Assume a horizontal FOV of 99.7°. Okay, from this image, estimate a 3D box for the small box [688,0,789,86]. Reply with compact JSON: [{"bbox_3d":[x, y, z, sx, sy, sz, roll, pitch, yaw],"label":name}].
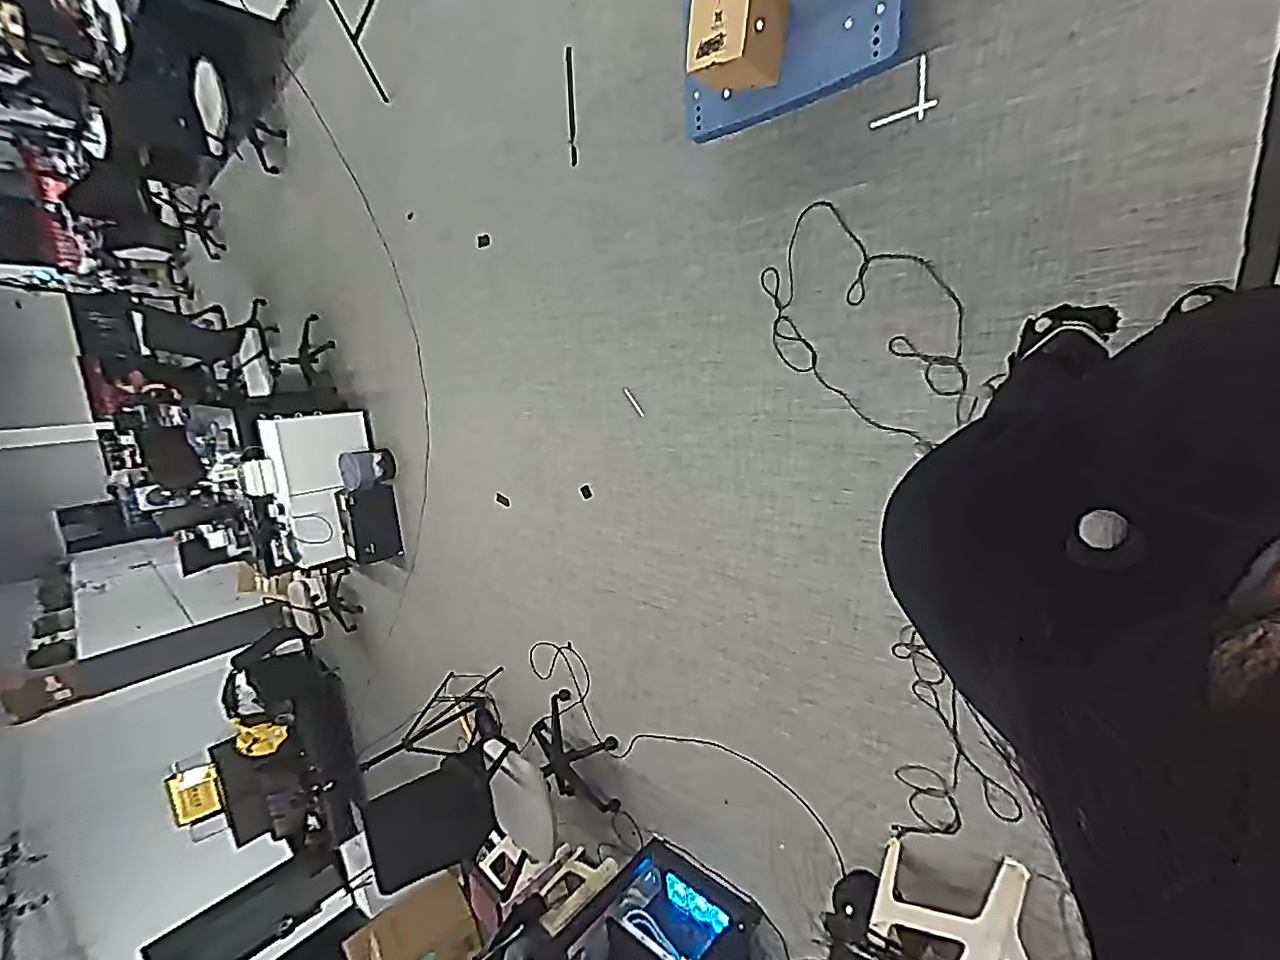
[{"bbox_3d":[0.237,-1.074,1.292,0.168,0.176,0.179,20,113,39],"label":"small box"}]
